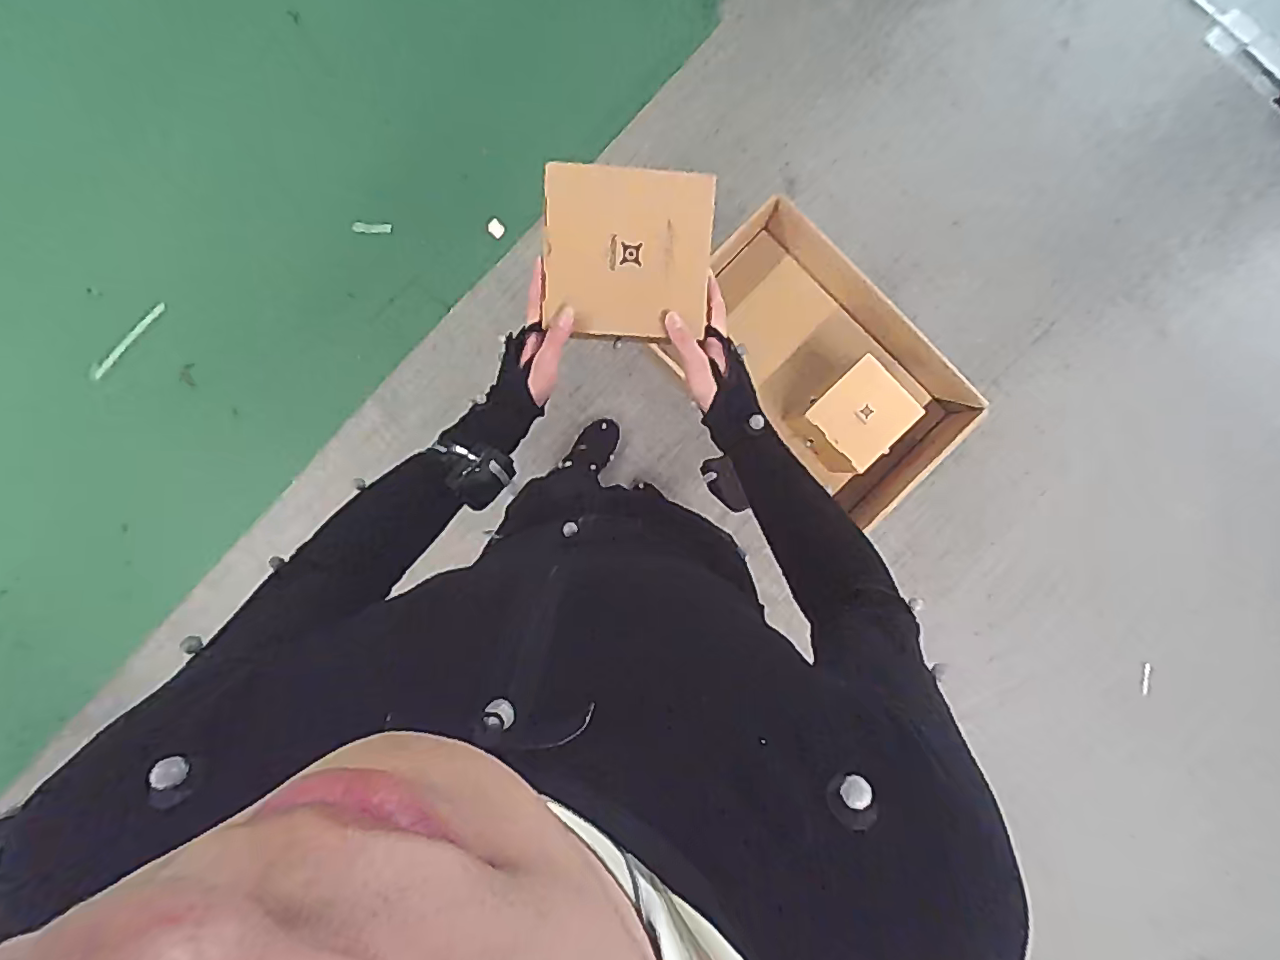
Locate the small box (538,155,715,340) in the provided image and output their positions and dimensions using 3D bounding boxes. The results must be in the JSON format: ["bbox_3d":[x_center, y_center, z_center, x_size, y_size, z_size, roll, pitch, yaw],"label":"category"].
[{"bbox_3d":[-0.019,-0.256,0.635,0.179,0.176,0.168,2,103,-4],"label":"small box"}]

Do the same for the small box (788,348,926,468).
[{"bbox_3d":[0.439,-0.145,1.126,0.179,0.176,0.168,-44,92,3],"label":"small box"}]
